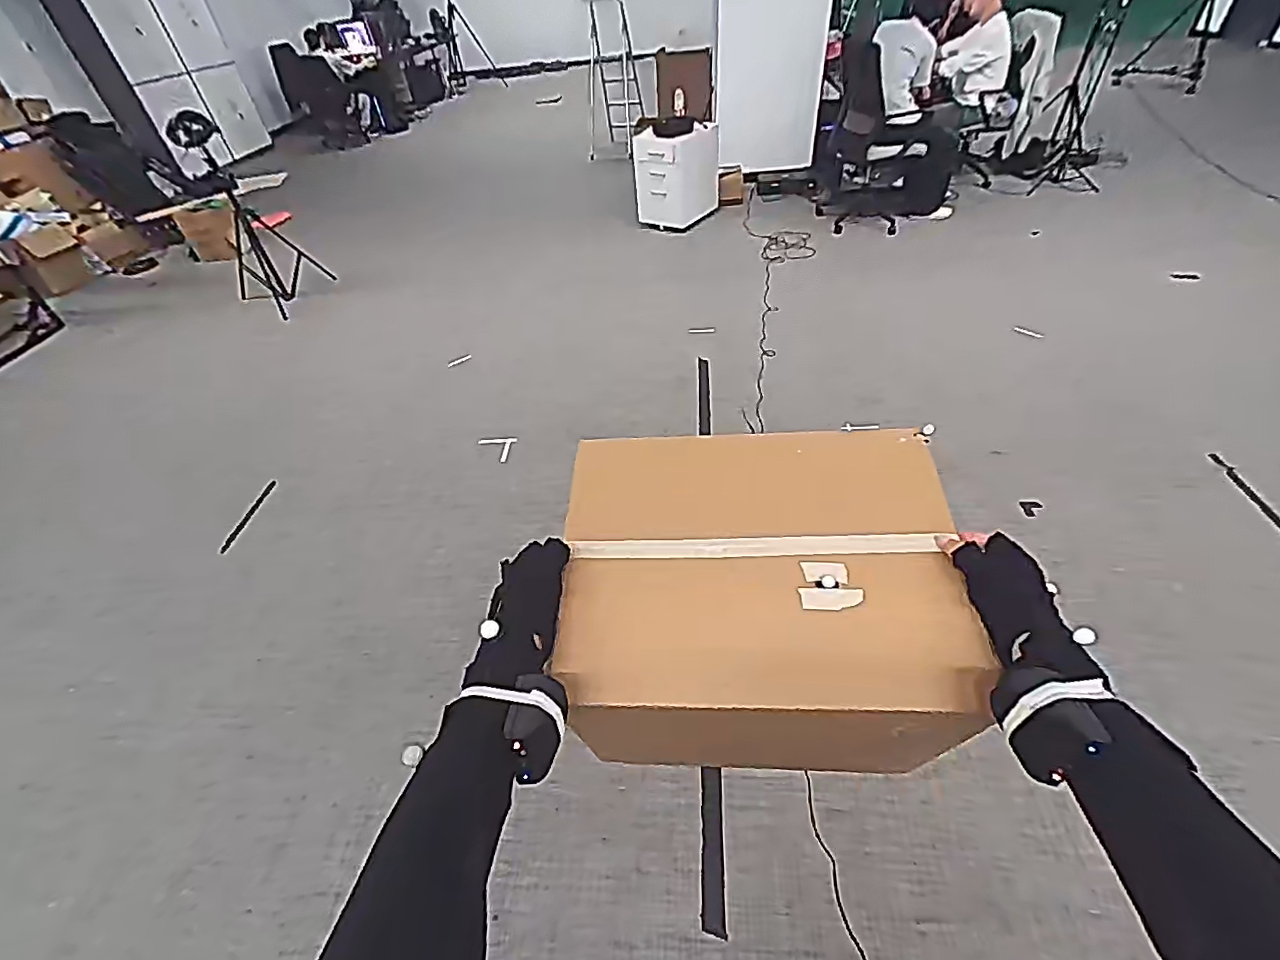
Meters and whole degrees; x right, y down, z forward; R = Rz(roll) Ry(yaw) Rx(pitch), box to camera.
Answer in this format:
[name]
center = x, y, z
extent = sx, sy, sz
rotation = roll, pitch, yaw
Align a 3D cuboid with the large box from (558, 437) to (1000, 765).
[large box]
center = 0.135, 0.168, 0.693
extent = 0.408, 0.320, 0.320
rotation = -2, 54, 6
